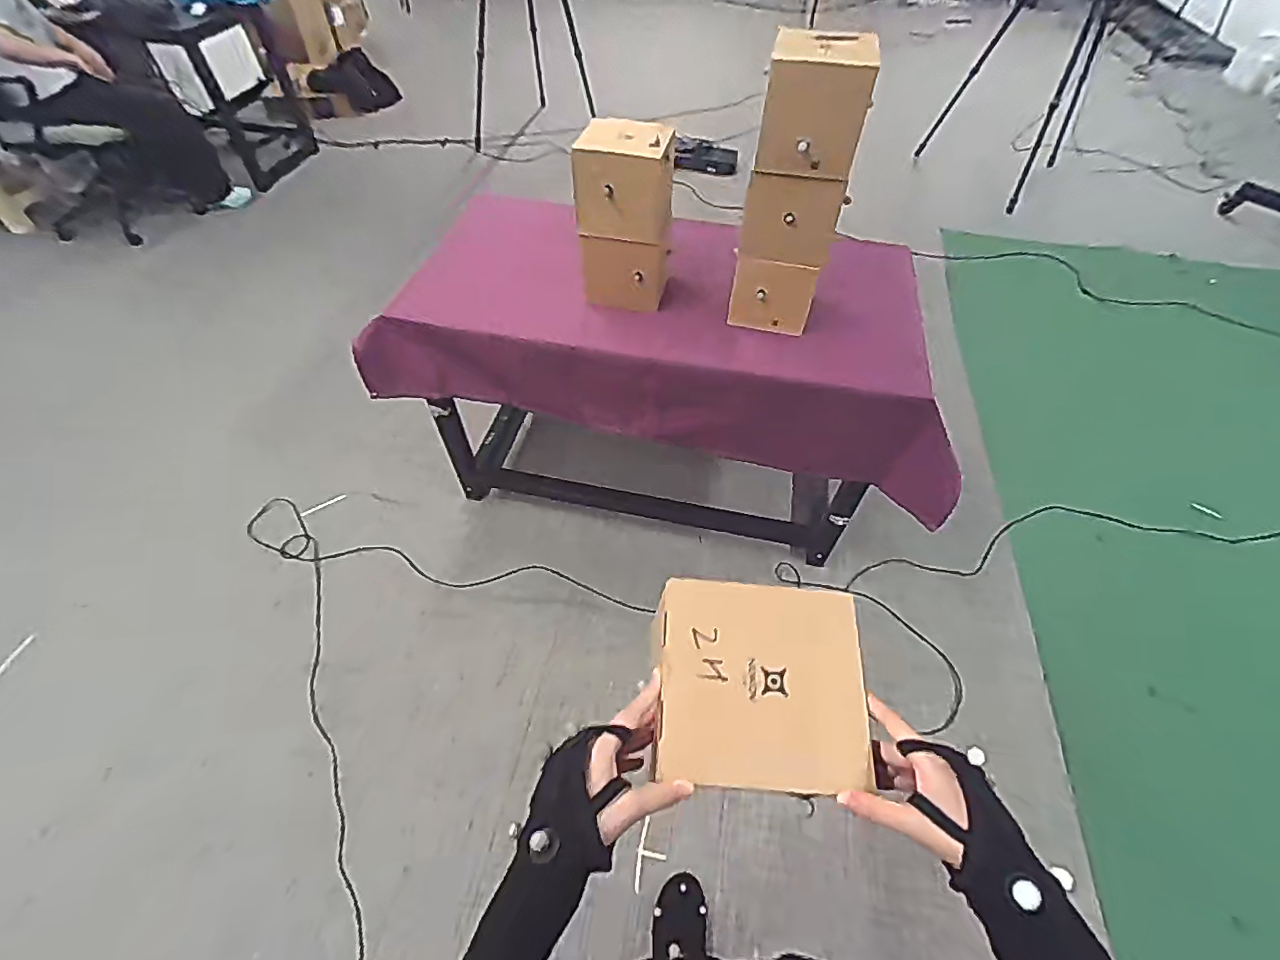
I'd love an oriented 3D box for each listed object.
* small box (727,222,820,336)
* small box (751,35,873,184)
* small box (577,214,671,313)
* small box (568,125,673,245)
[{"bbox_3d":[0.293,-0.446,1.206,0.168,0.176,0.179,11,52,8],"label":"small box"},{"bbox_3d":[0.294,-0.648,0.946,0.168,0.176,0.179,10,52,8],"label":"small box"},{"bbox_3d":[-0.033,-0.507,1.249,0.179,0.176,0.168,10,51,7],"label":"small box"},{"bbox_3d":[-0.035,-0.608,1.119,0.179,0.176,0.168,10,52,7],"label":"small box"}]
